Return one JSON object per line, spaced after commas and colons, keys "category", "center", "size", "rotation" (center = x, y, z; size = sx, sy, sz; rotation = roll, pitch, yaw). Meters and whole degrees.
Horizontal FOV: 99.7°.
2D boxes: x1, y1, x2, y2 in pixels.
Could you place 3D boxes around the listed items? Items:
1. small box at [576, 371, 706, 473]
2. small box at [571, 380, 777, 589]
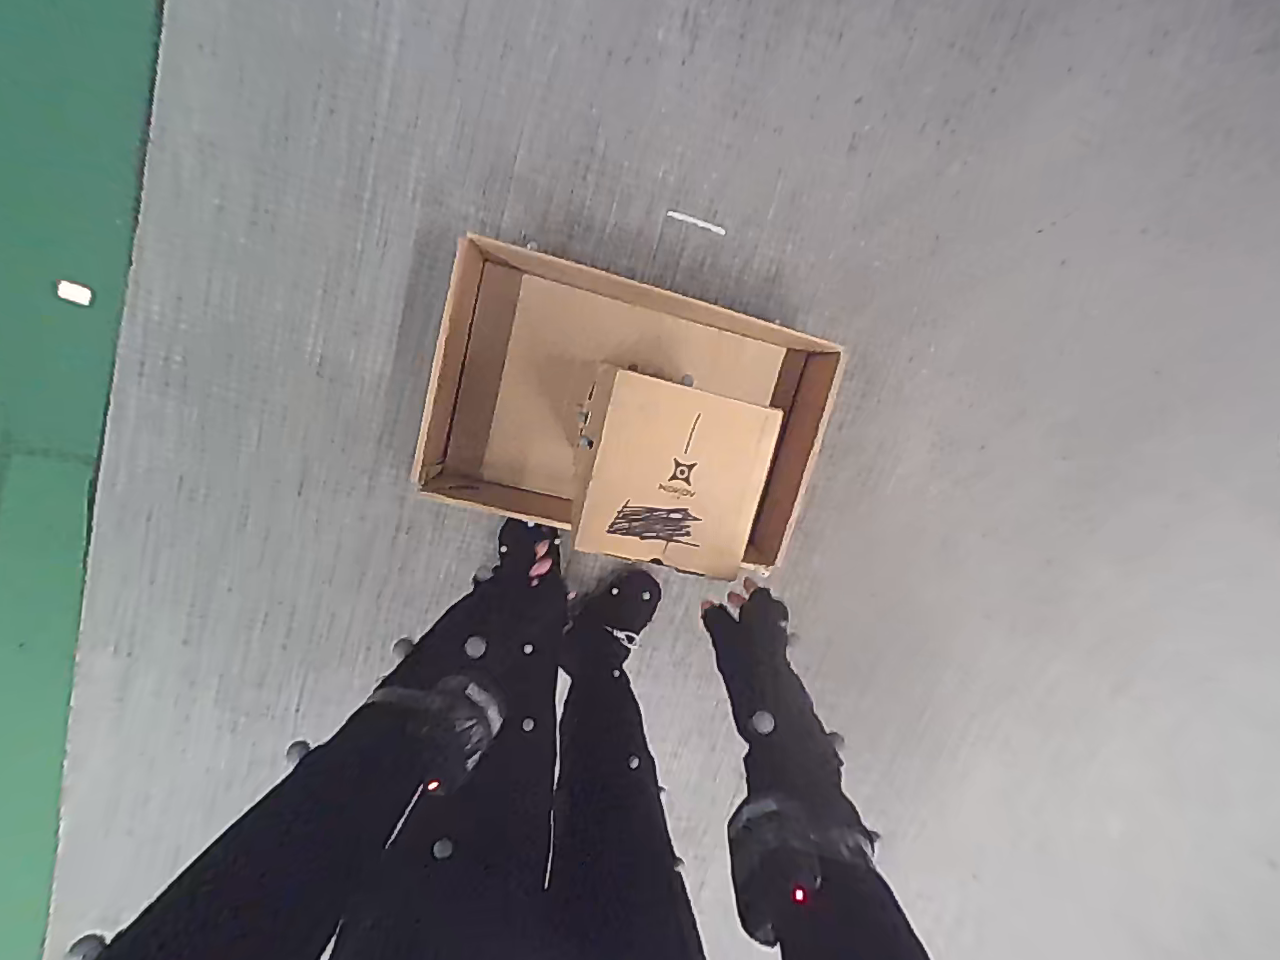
{"category": "small box", "center": [-0.007, -0.081, 0.916], "size": [0.179, 0.176, 0.168], "rotation": [12, 98, -9]}
{"category": "small box", "center": [0.025, -0.004, 0.598], "size": [0.168, 0.176, 0.179], "rotation": [13, 97, -9]}
